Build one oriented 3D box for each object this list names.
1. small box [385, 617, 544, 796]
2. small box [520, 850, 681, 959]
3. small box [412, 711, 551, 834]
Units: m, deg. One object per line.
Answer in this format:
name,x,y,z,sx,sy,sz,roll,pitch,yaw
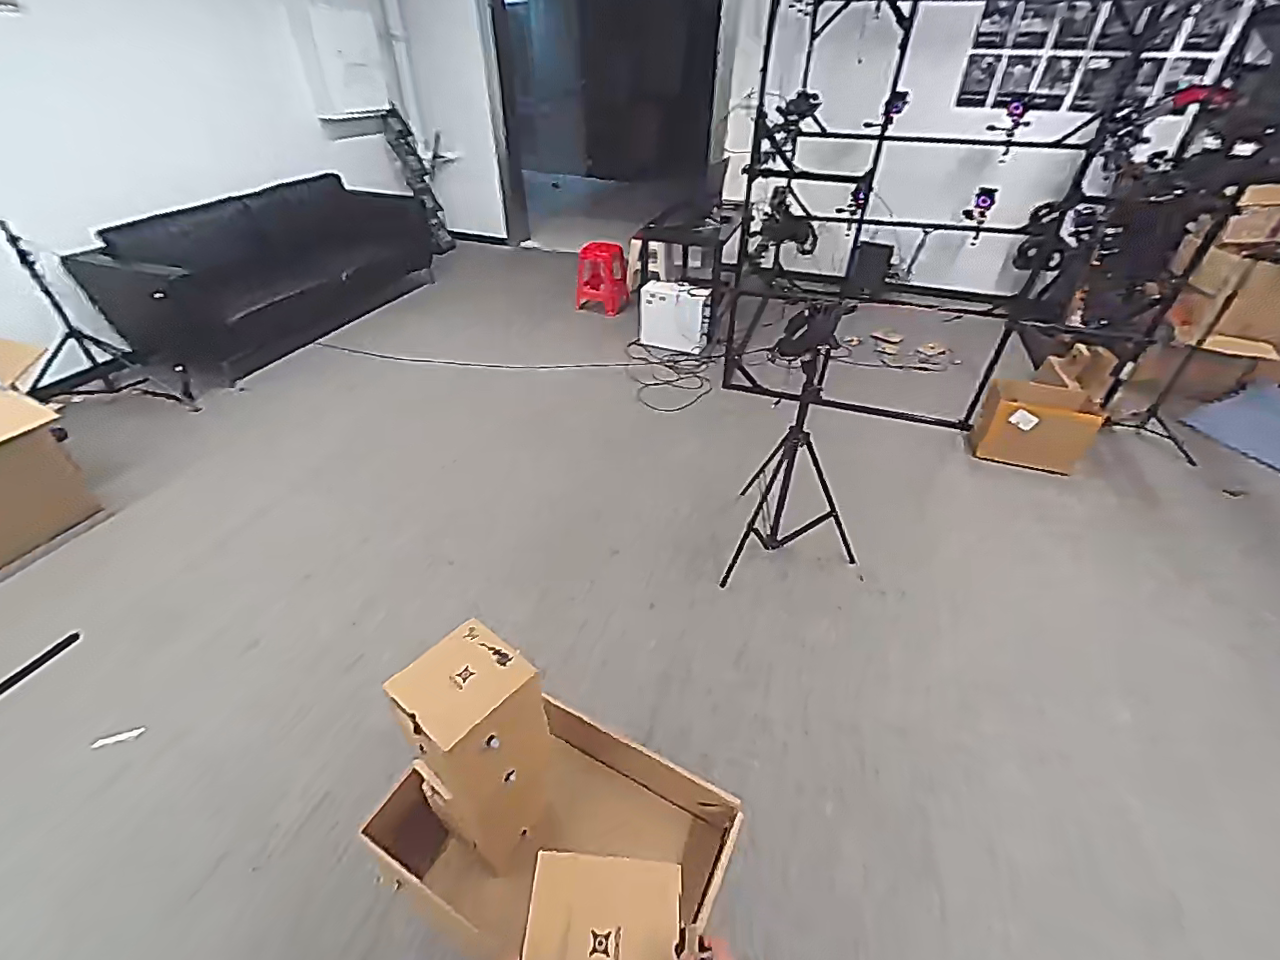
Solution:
small box,-0.276,0.370,0.886,0.168,0.176,0.179,28,45,30
small box,-0.051,0.569,0.642,0.179,0.176,0.168,7,39,-2
small box,-0.279,0.497,0.990,0.168,0.176,0.179,25,42,27
